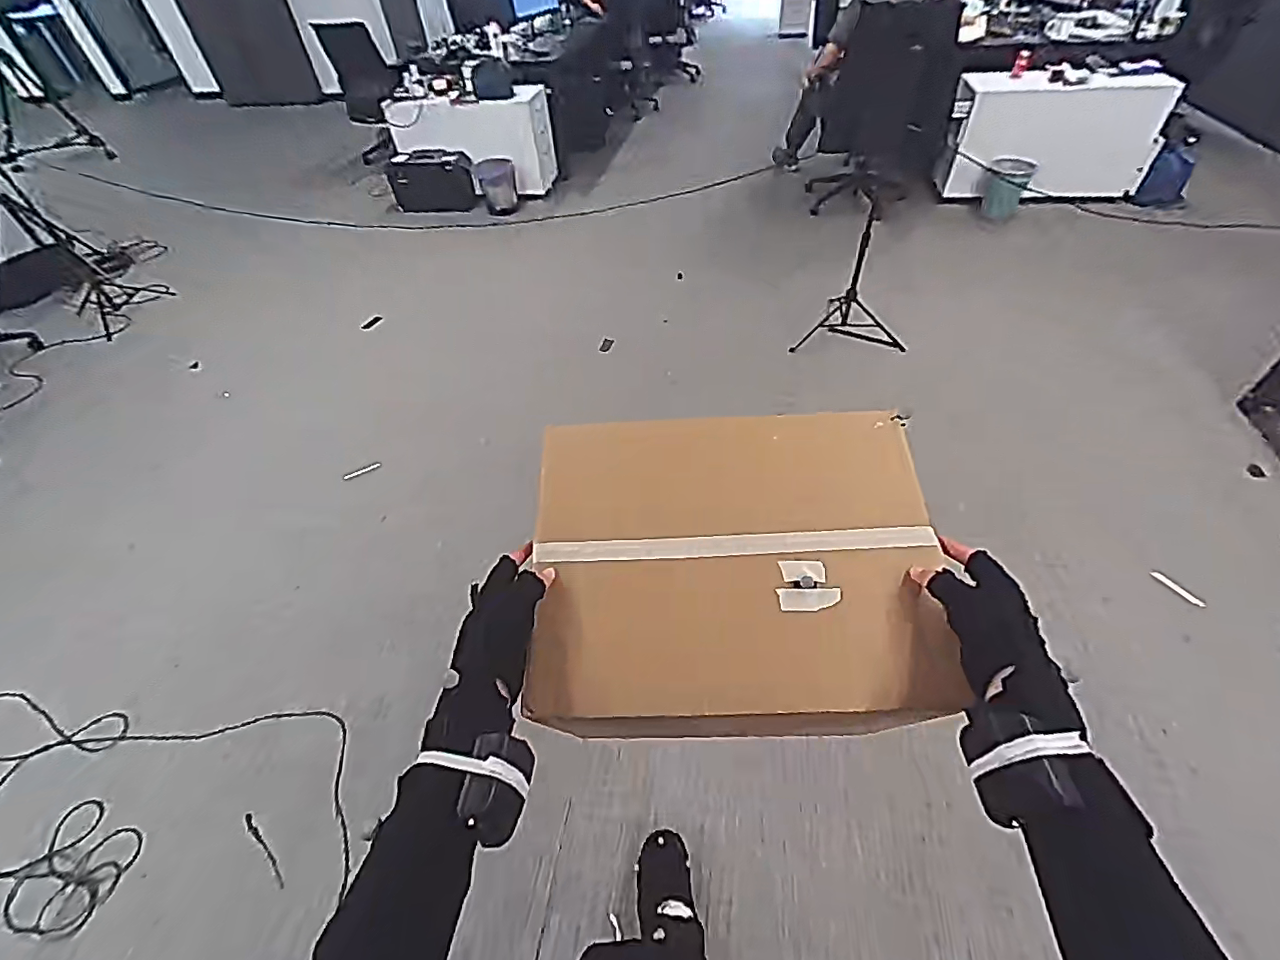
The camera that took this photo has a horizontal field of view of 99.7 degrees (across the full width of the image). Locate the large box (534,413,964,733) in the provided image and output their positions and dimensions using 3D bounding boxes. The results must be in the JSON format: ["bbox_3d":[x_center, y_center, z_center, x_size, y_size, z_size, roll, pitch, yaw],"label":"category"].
[{"bbox_3d":[0.100,0.138,0.695,0.408,0.320,0.320,-3,62,2],"label":"large box"}]
